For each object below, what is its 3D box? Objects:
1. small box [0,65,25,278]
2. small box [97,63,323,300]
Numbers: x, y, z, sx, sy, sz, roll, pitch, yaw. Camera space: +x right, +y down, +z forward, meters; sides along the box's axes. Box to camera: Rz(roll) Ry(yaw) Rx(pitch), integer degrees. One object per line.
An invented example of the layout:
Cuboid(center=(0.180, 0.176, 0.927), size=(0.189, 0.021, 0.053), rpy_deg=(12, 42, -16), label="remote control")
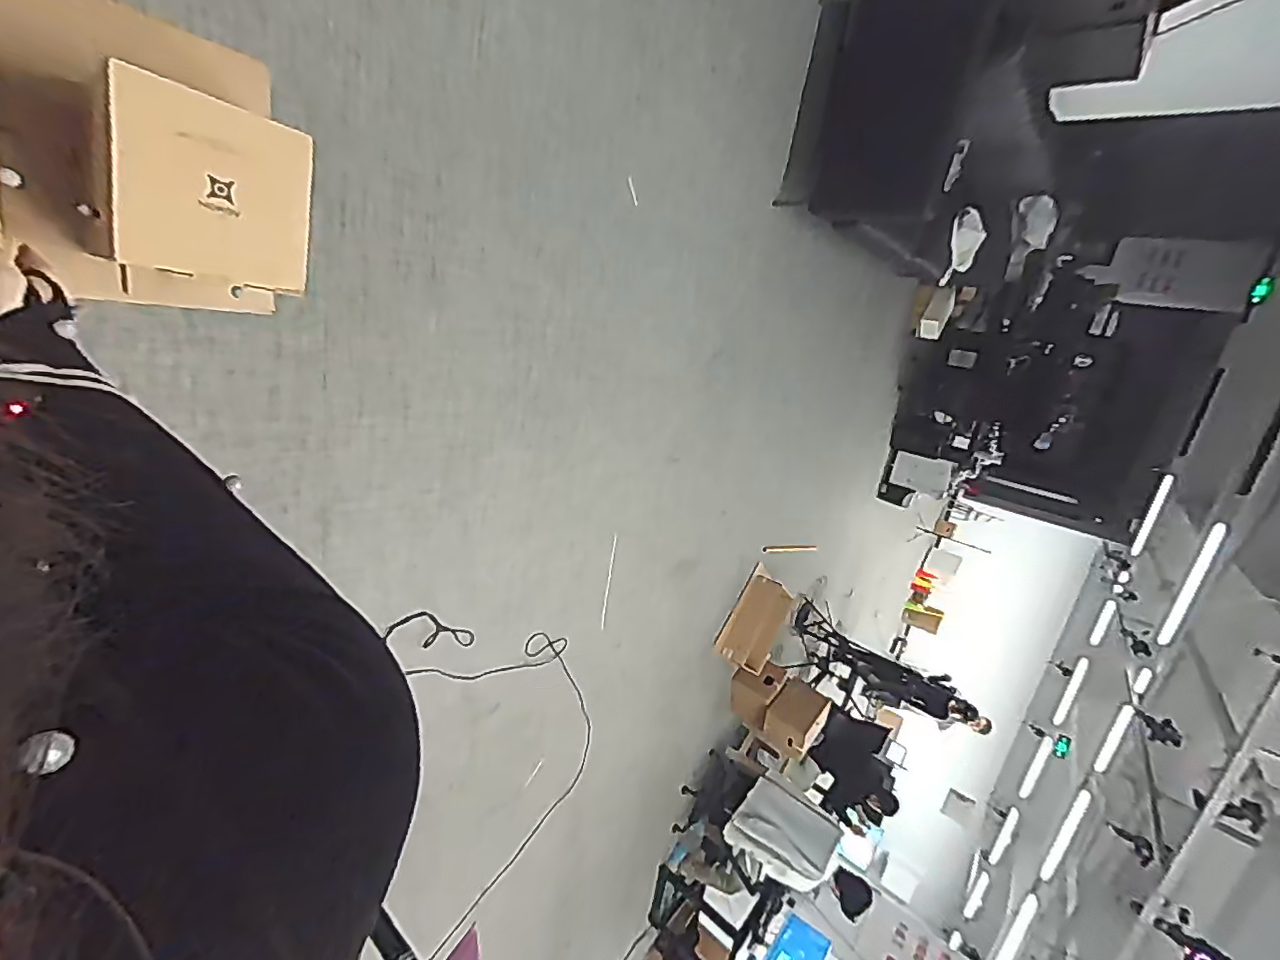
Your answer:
Cuboid(center=(-0.633, -0.273, 0.428), size=(0.168, 0.176, 0.179), rpy_deg=(-12, 118, -52), label="small box")
Cuboid(center=(-0.480, -0.314, 0.606), size=(0.168, 0.176, 0.179), rpy_deg=(-6, 110, -51), label="small box")
